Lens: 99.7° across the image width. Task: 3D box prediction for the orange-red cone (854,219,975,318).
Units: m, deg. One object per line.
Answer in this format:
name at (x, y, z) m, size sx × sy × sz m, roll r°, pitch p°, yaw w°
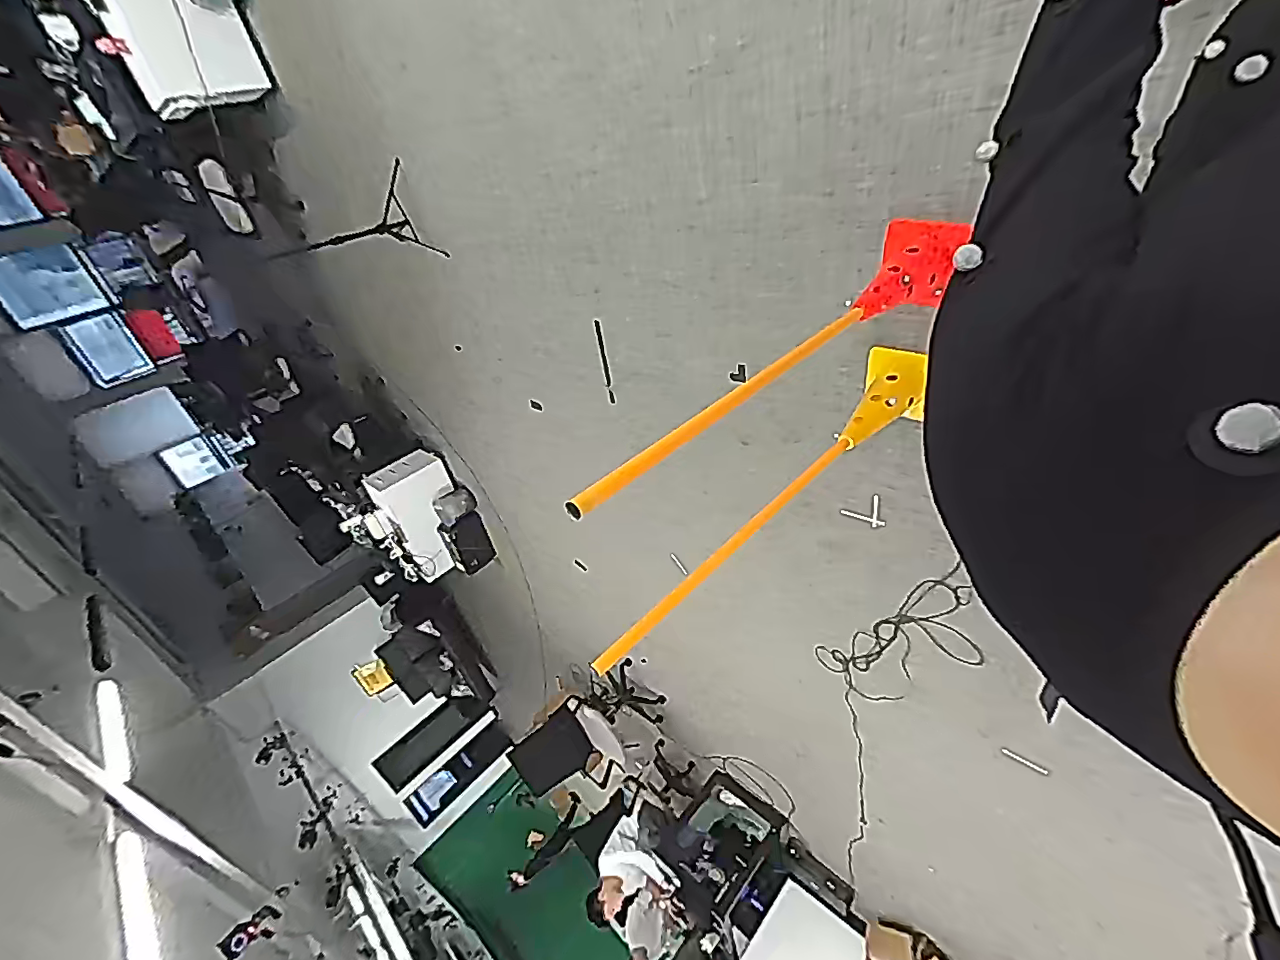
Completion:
orange-red cone at (0.586, -0.451, 1.243) m, size 0.198 × 0.360 × 0.199 m, roll 27°, pitch 137°, yaw 34°
